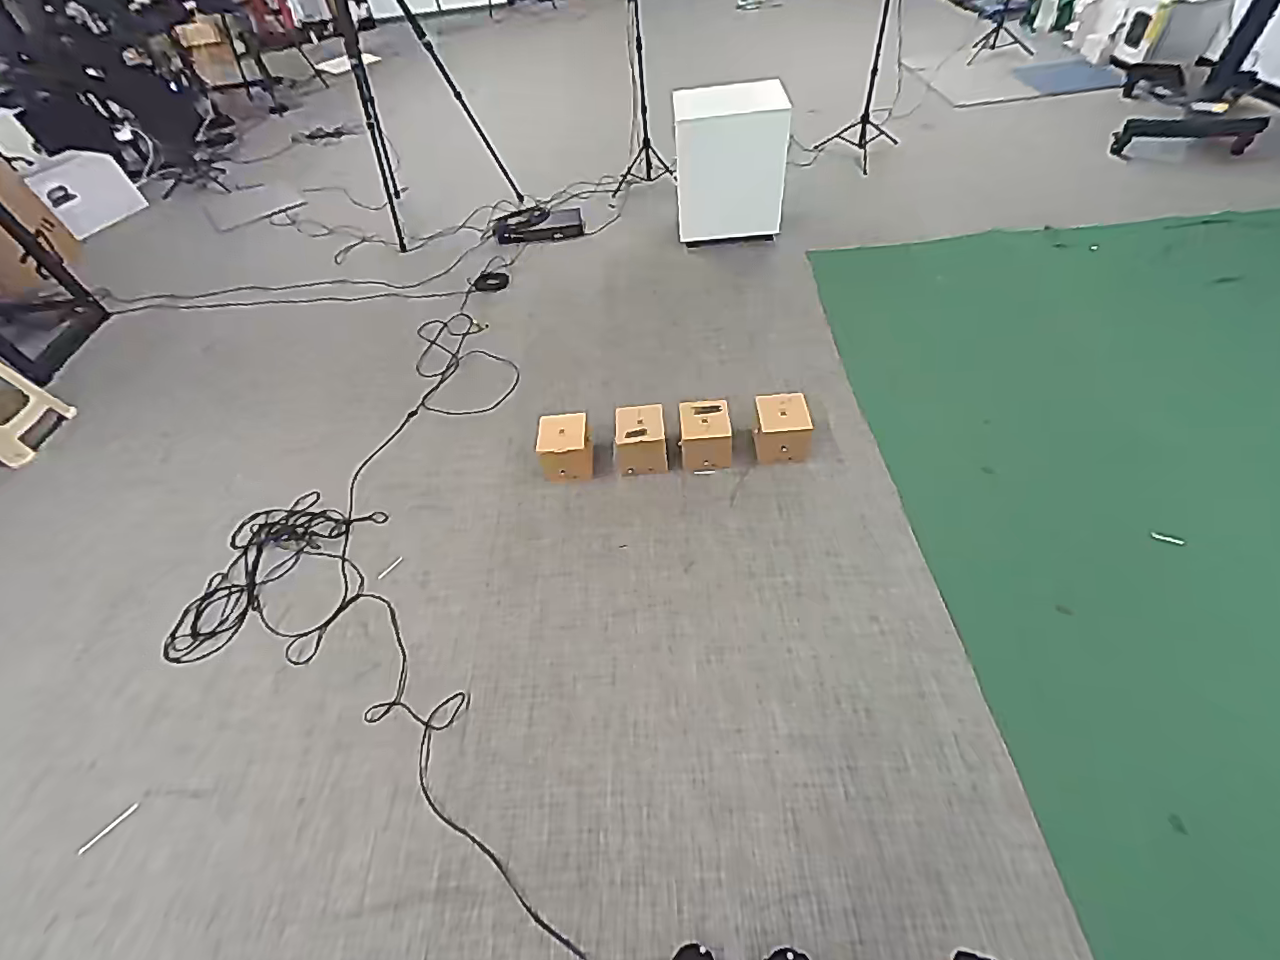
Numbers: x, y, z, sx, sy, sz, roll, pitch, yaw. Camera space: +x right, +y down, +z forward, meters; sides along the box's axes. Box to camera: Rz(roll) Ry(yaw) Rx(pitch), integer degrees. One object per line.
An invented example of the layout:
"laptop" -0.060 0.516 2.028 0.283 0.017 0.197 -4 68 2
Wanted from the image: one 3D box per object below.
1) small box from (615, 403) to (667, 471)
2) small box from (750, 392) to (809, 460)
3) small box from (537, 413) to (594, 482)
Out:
"small box" 0.004 -0.144 1.914 0.168 0.176 0.179 -6 50 4
"small box" 0.482 -0.182 1.885 0.168 0.176 0.179 -4 51 3
"small box" -0.261 -0.115 1.928 0.168 0.176 0.179 -5 51 4
